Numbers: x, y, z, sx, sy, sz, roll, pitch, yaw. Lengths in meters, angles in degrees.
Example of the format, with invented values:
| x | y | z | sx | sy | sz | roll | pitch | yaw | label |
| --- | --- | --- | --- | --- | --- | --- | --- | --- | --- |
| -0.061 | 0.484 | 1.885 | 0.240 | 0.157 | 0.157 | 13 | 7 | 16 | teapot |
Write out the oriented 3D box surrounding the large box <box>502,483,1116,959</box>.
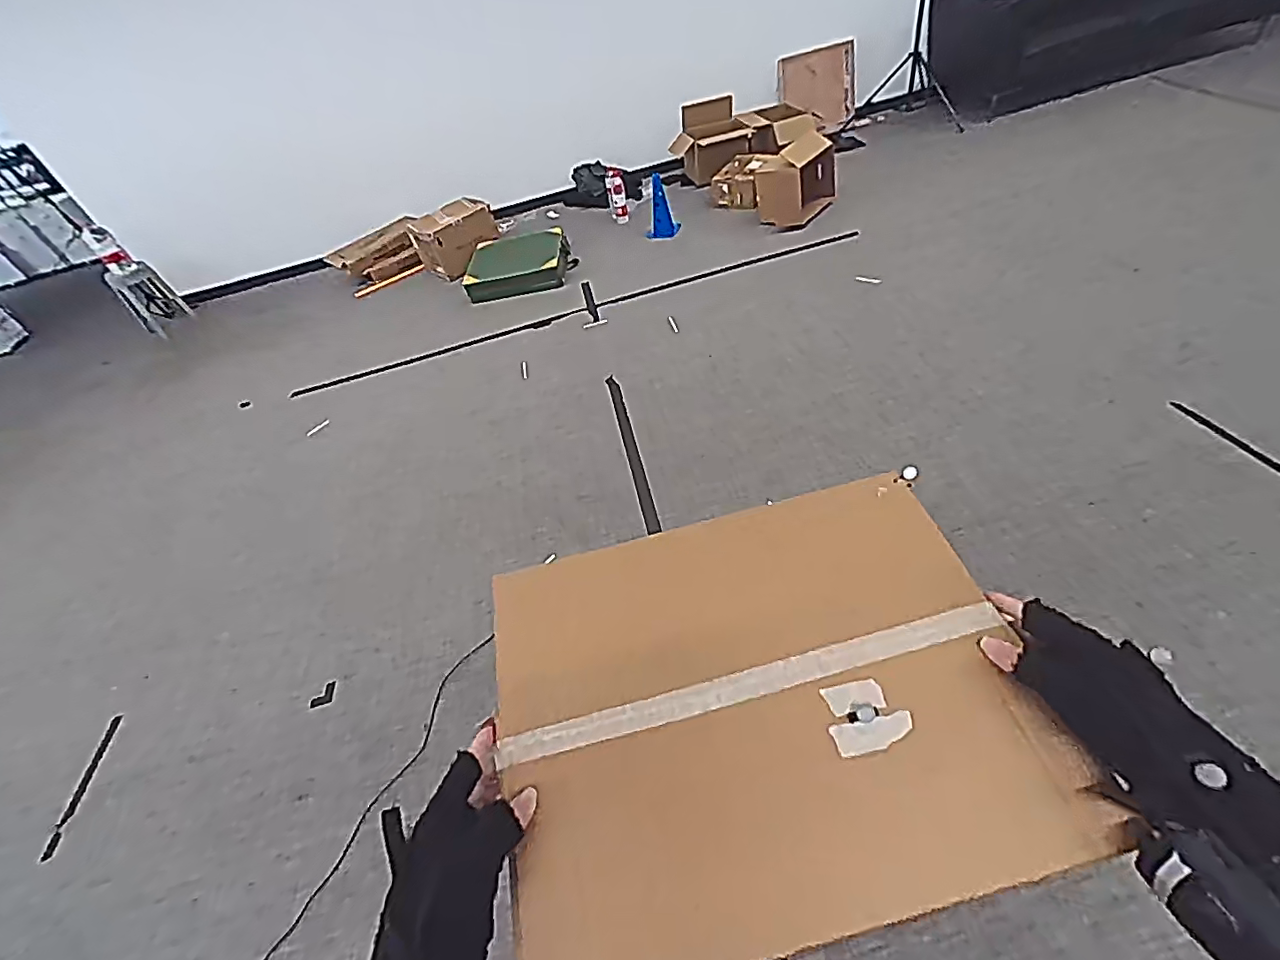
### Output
| x | y | z | sx | sy | sz | roll | pitch | yaw | label |
| --- | --- | --- | --- | --- | --- | --- | --- | --- | --- |
| 0.110 | 0.259 | 0.554 | 0.408 | 0.320 | 0.320 | -15 | 52 | -2 | large box |
